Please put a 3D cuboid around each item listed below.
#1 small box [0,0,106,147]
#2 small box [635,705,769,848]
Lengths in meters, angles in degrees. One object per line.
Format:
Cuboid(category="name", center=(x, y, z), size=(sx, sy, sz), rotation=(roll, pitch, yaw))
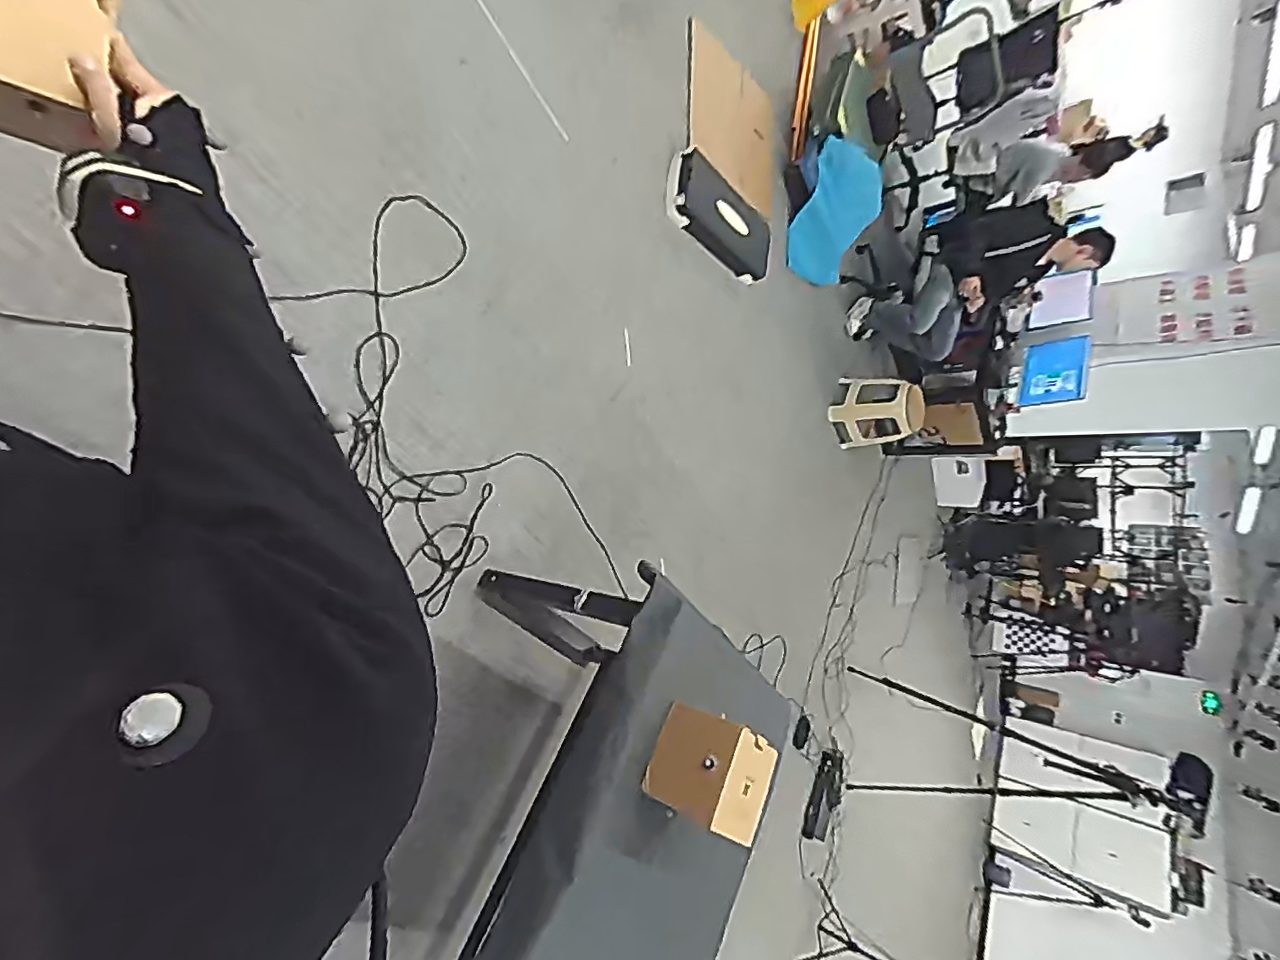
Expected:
Cuboid(category="small box", center=(-0.522, -0.381, 0.401), size=(0.179, 0.176, 0.168), rotation=(2, 99, -48))
Cuboid(category="small box", center=(0.119, 0.560, 1.040), size=(0.168, 0.176, 0.179), rotation=(48, 58, -37))
